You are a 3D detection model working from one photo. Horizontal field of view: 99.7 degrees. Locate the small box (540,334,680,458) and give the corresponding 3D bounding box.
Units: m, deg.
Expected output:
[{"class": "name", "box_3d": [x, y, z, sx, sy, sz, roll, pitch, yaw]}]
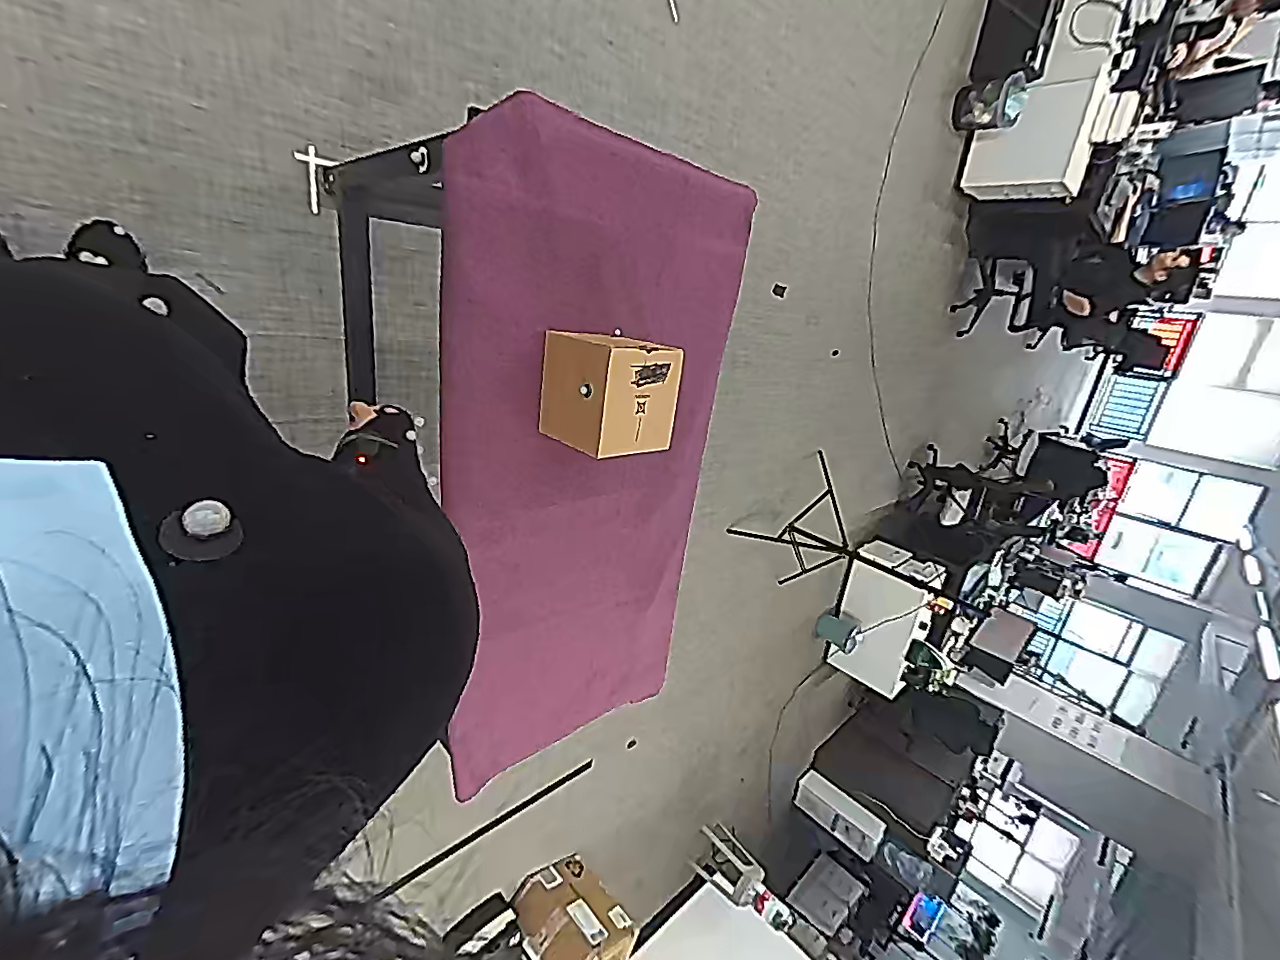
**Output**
[{"class": "small box", "box_3d": [-0.057, -0.150, 0.929, 0.168, 0.176, 0.179, -10, 116, -43]}]
